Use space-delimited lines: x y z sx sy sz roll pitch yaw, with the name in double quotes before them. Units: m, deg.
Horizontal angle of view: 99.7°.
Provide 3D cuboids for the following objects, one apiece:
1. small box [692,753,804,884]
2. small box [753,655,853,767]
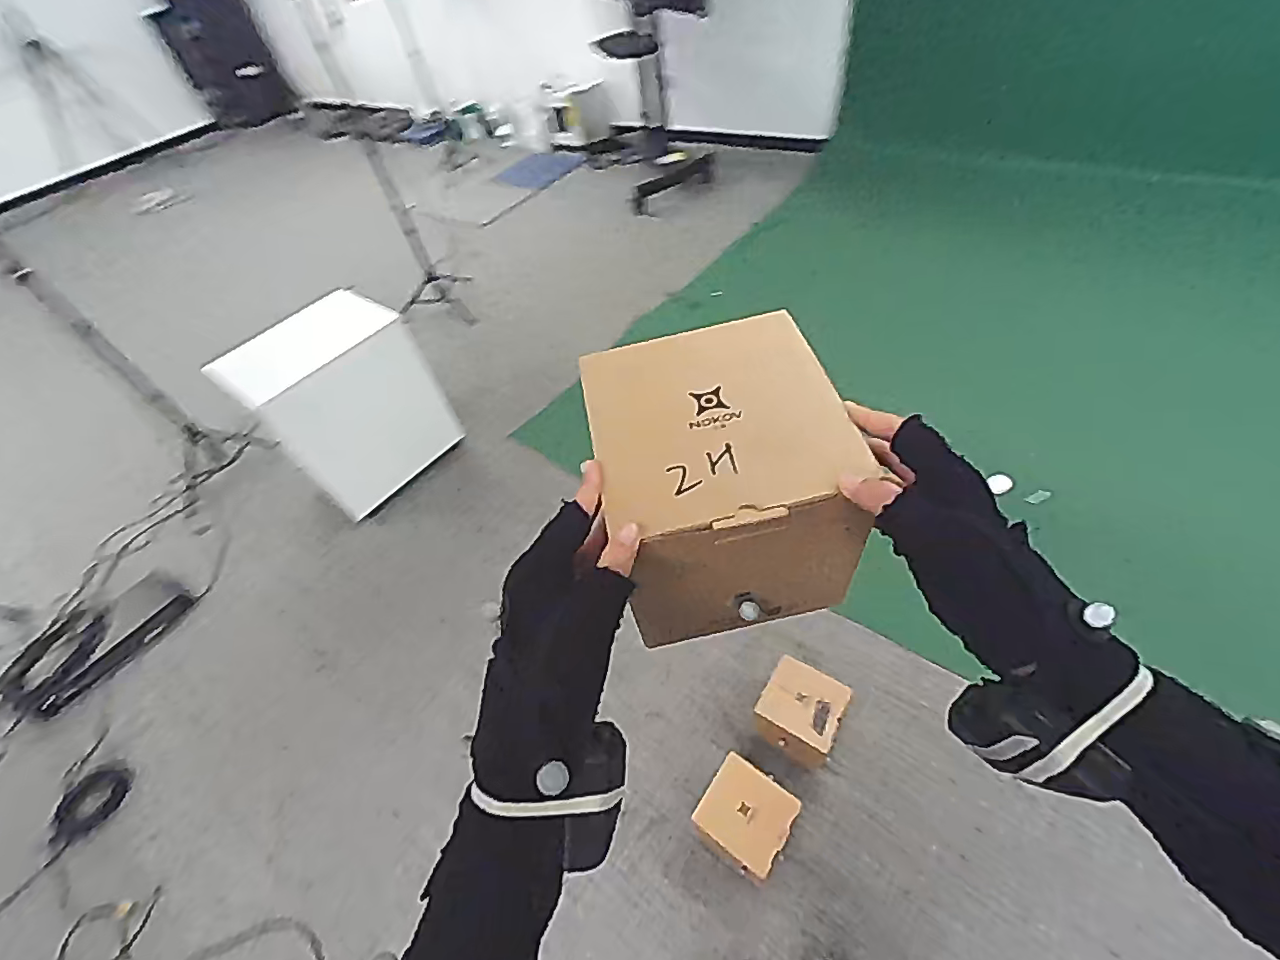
"small box" 0.232 0.740 1.176 0.179 0.176 0.168 26 58 28
"small box" 0.388 0.562 1.303 0.179 0.176 0.168 23 57 27
